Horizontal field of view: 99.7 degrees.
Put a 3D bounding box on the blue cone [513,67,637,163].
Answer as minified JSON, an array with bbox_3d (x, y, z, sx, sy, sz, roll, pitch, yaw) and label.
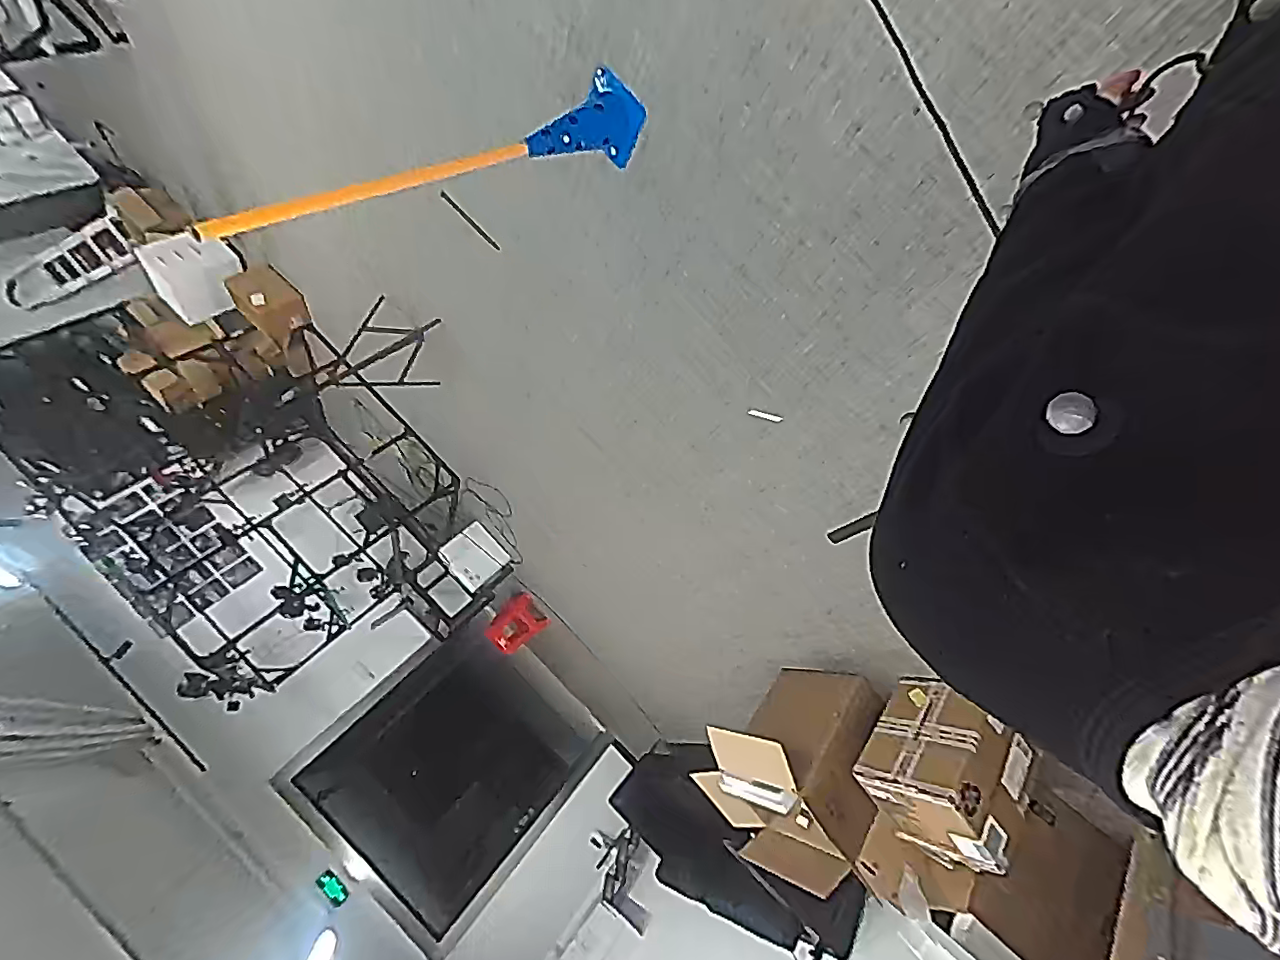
[{"bbox_3d":[-0.197,-0.982,1.516,0.192,0.380,0.193,48,148,-1],"label":"blue cone"}]
